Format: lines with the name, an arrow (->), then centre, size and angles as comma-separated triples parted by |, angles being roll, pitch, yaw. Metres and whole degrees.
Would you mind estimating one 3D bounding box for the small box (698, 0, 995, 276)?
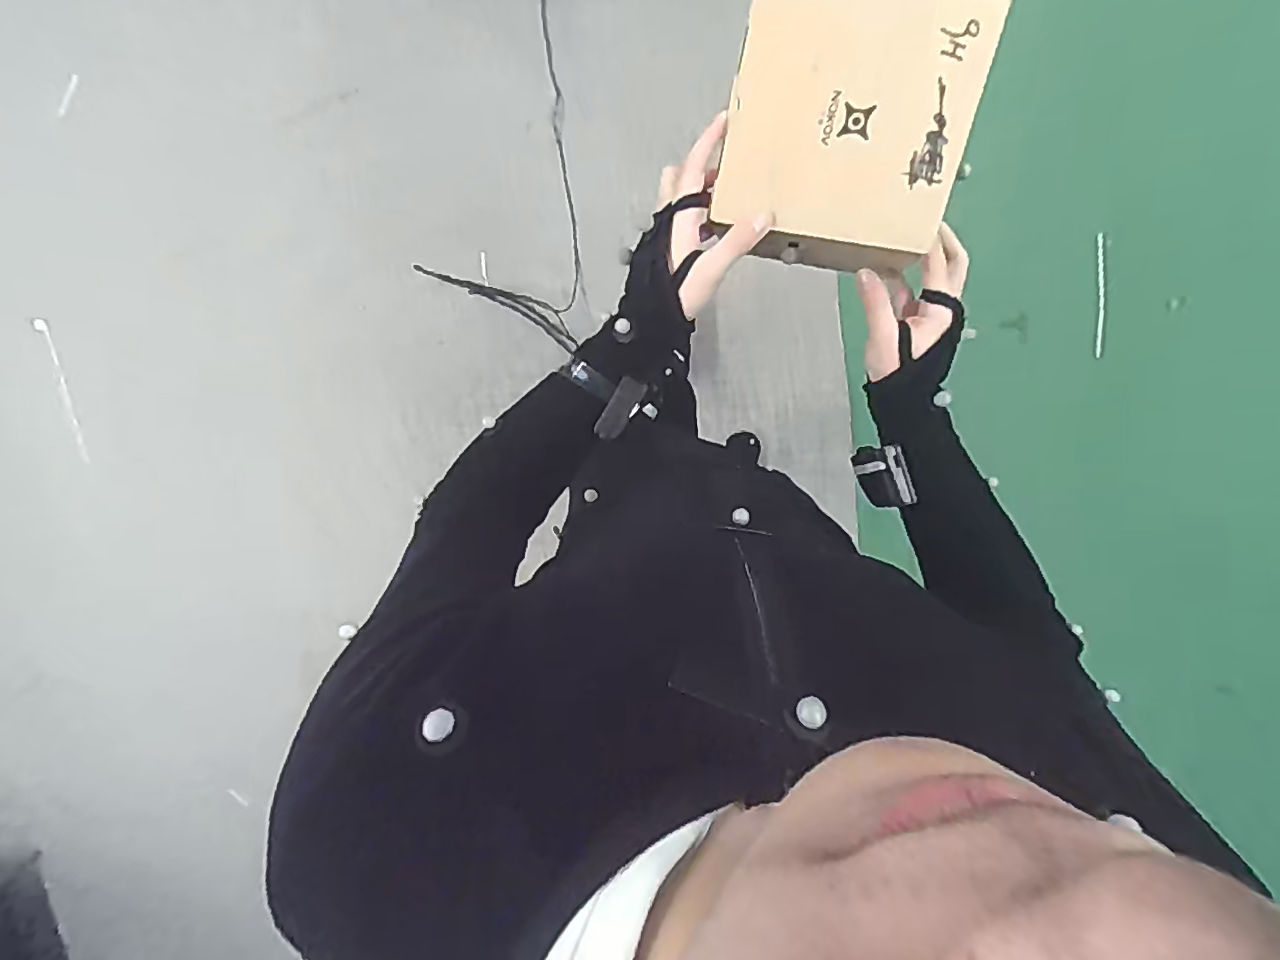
small box -> 0.164, -0.286, 0.477 | 0.179, 0.176, 0.168 | 14, 106, 11
